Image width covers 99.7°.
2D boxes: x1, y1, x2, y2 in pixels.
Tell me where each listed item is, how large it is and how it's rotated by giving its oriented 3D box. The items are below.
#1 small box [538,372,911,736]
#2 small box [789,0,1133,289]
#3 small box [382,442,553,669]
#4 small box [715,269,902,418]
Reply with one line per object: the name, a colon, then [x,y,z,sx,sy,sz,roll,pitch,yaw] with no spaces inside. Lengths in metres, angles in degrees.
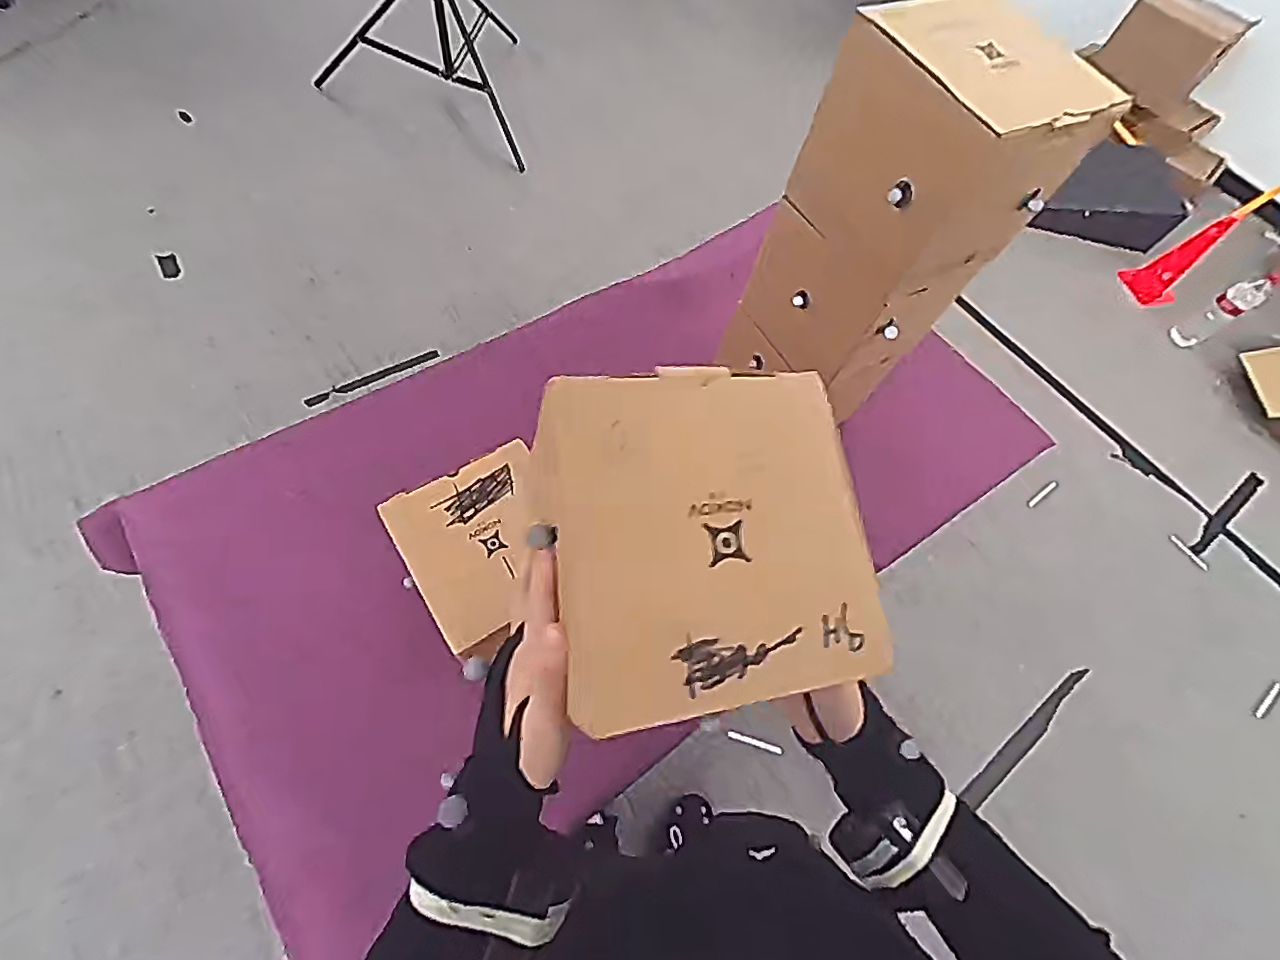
small box: [0.029,0.047,0.350,0.168,0.176,0.179,-5,75,-16]
small box: [0.273,-0.304,0.505,0.168,0.176,0.179,-23,69,-18]
small box: [-0.161,0.093,0.620,0.168,0.176,0.179,-29,73,-20]
small box: [0.233,-0.170,0.801,0.168,0.176,0.179,-26,71,-17]
